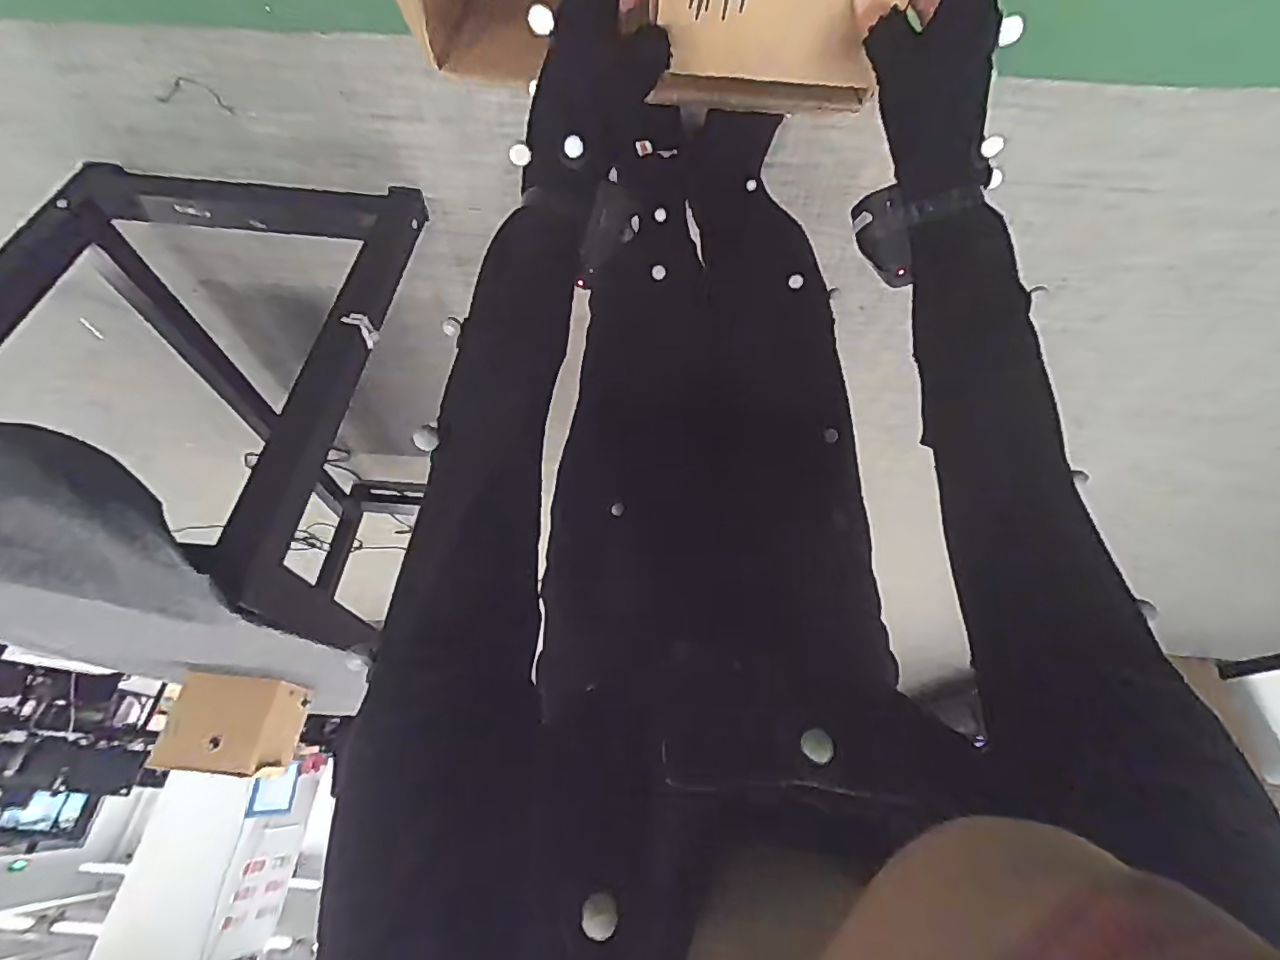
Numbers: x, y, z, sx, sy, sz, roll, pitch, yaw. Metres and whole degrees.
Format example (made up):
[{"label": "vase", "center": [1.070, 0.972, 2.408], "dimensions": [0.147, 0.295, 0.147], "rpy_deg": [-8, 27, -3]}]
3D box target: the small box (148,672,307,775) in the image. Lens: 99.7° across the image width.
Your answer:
[{"label": "small box", "center": [-0.796, 0.483, 1.073], "dimensions": [0.179, 0.176, 0.168], "rpy_deg": [7, 150, -3]}]
